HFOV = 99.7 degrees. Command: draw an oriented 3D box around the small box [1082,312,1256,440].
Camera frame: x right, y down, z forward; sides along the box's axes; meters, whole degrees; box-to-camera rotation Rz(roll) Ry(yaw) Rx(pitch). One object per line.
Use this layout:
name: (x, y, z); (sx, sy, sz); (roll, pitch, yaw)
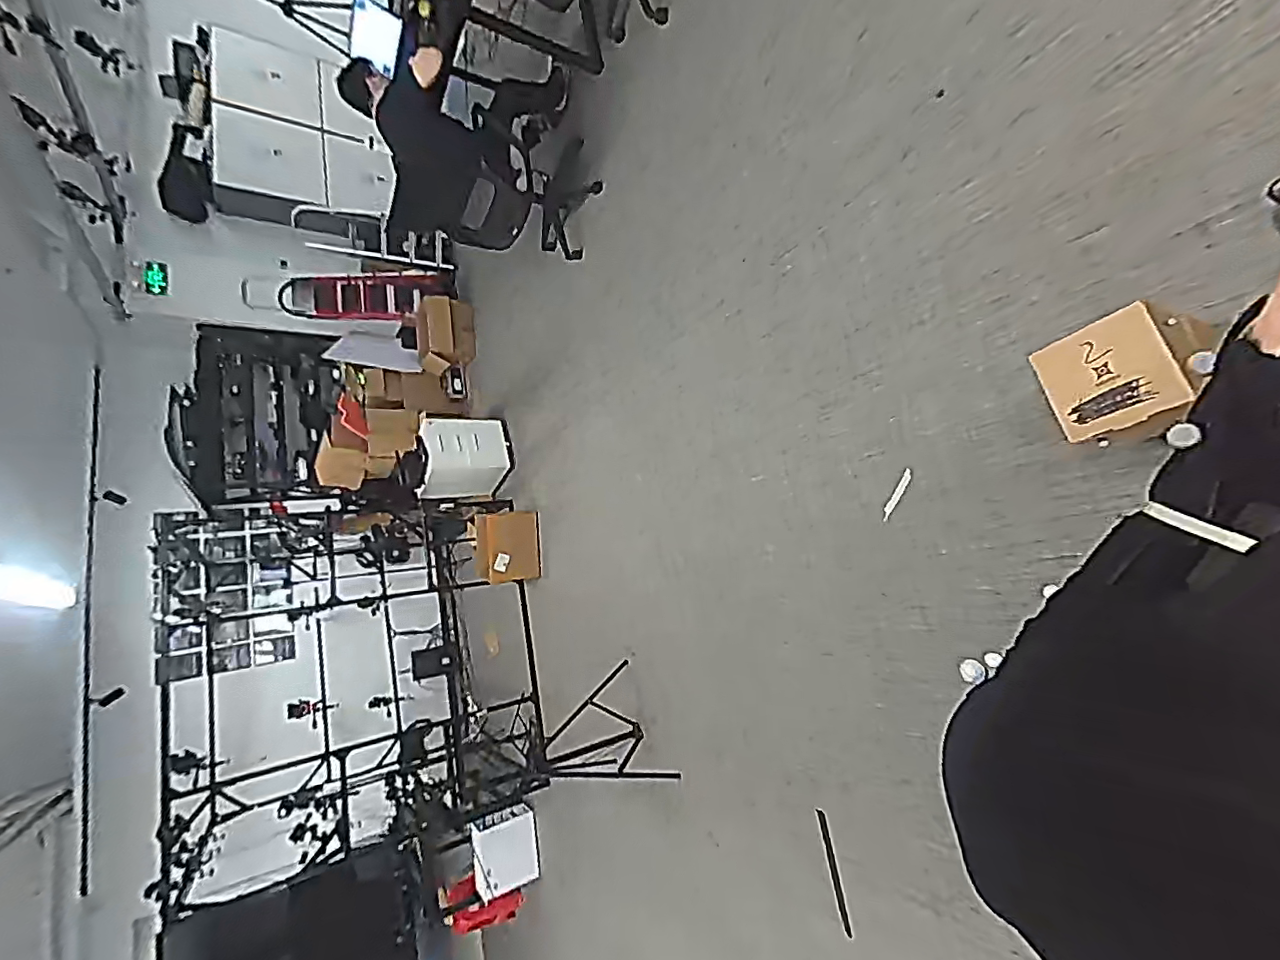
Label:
small box: (0.963, -0.182, 0.986); (0.168, 0.176, 0.179); (-28, 69, 55)
